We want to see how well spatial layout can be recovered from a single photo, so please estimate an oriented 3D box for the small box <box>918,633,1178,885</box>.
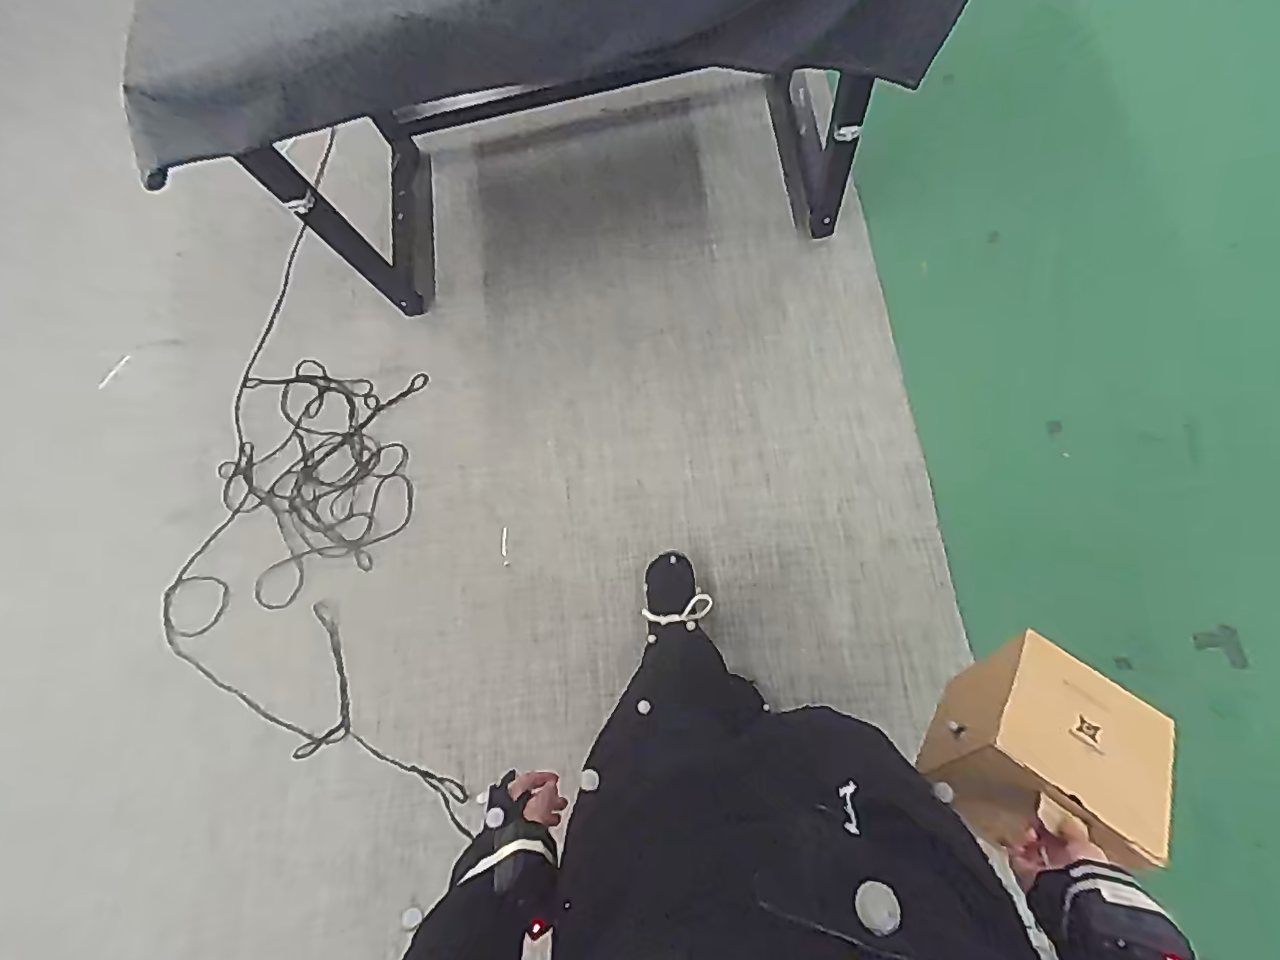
[{"bbox_3d":[0.455,0.322,0.622,0.168,0.176,0.179,36,50,18],"label":"small box"}]
